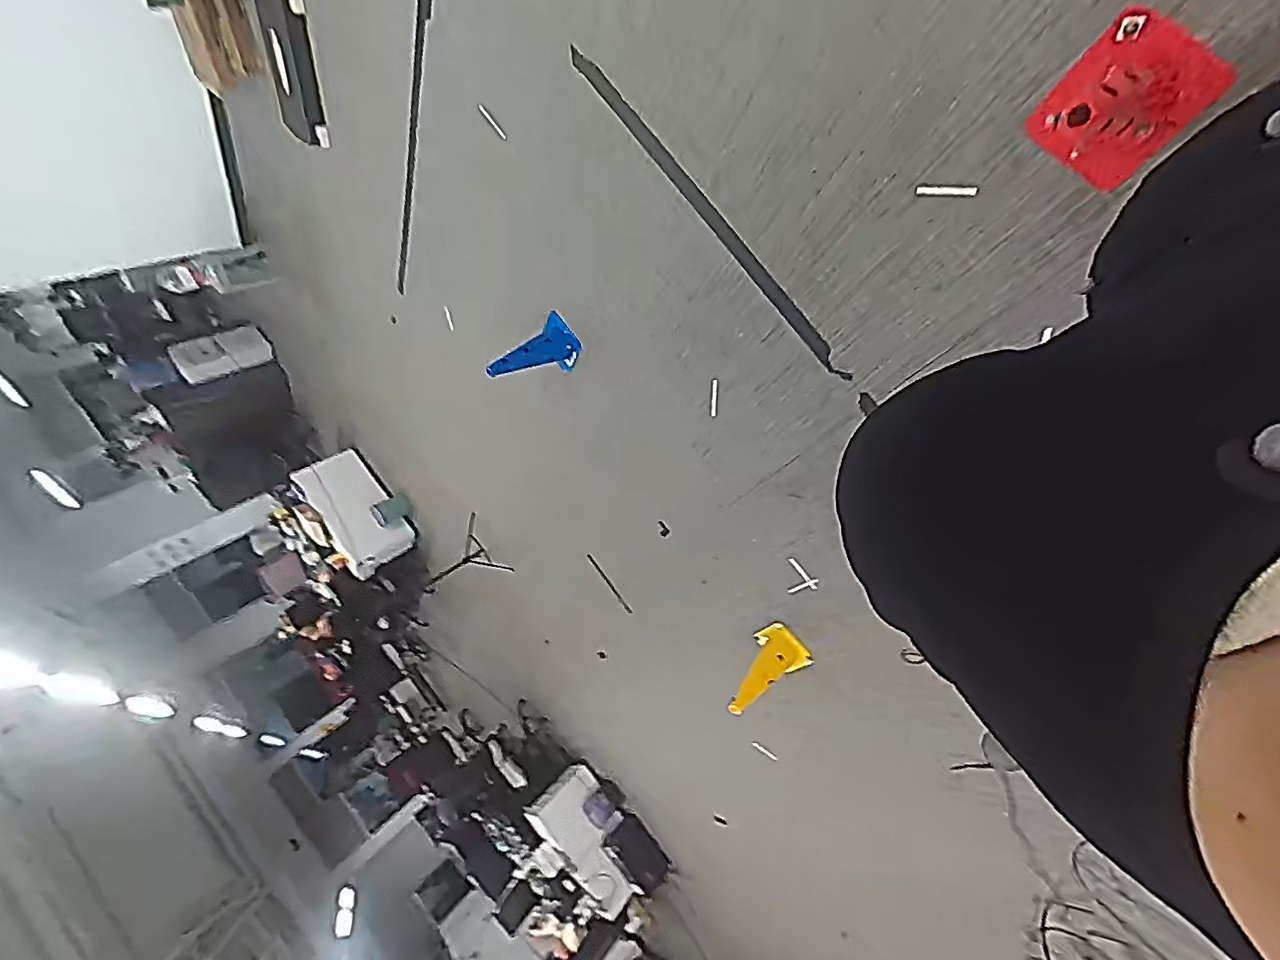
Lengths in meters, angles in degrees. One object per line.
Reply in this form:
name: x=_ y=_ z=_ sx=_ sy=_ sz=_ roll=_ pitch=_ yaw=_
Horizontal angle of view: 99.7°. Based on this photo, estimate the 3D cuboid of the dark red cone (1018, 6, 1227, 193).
dark red cone: x=0.661 y=-0.535 z=0.788 sx=0.202 sy=0.394 sz=0.201 roll=48 pitch=144 yaw=11

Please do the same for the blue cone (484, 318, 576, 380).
blue cone: x=-0.452 y=-0.485 z=2.151 sx=0.193 sy=0.380 sz=0.192 roll=53 pitch=145 yaw=4
